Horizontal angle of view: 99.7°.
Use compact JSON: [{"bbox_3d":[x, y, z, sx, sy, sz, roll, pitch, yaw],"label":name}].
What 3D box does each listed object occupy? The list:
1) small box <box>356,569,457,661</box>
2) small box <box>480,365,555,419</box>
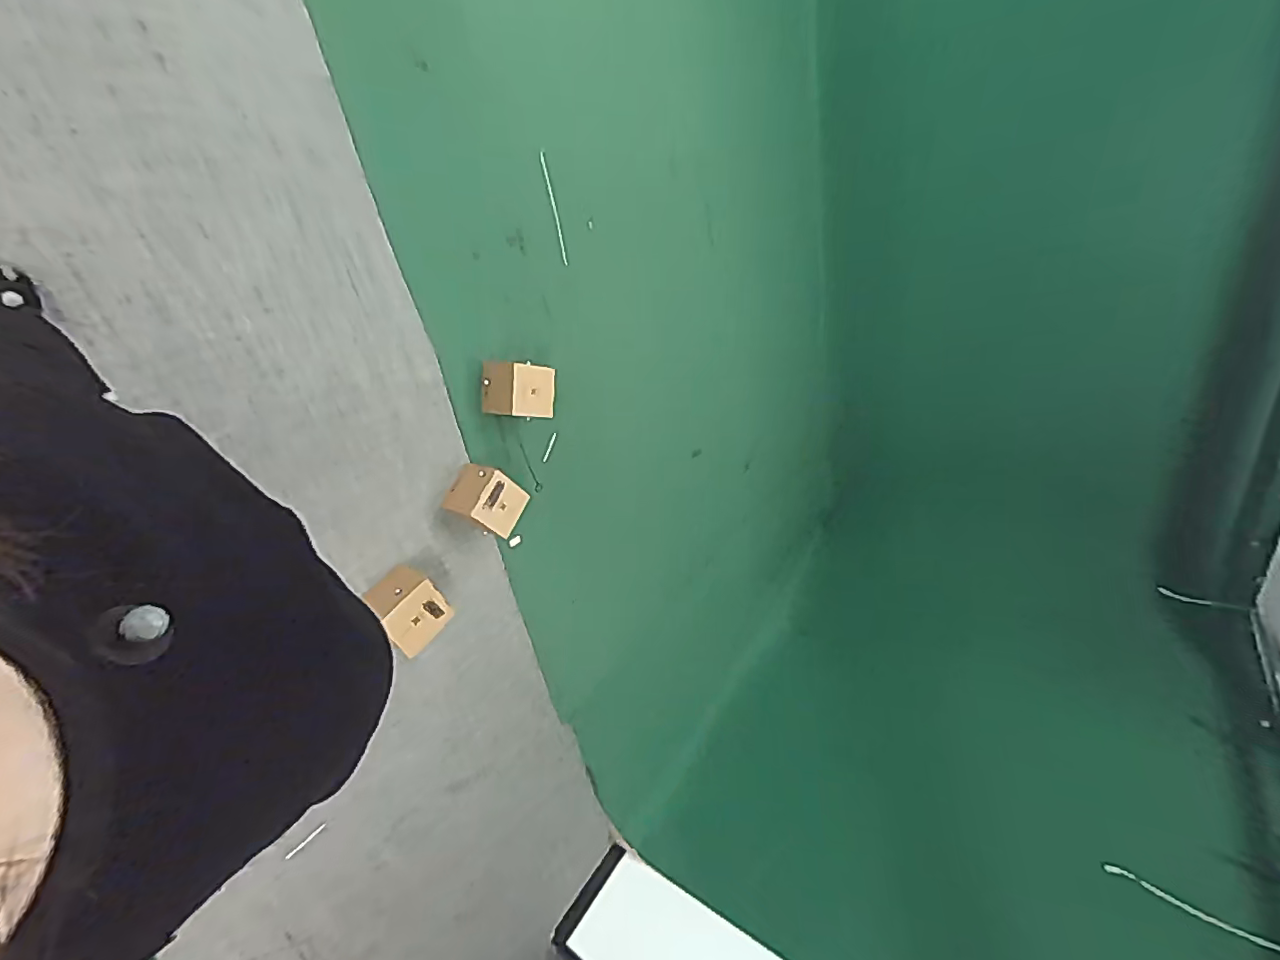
[{"bbox_3d":[-0.682,0.386,1.578,0.179,0.176,0.168,-49,132,-34],"label":"small box"},{"bbox_3d":[-0.406,-0.293,1.803,0.179,0.176,0.168,-5,100,-52],"label":"small box"}]
